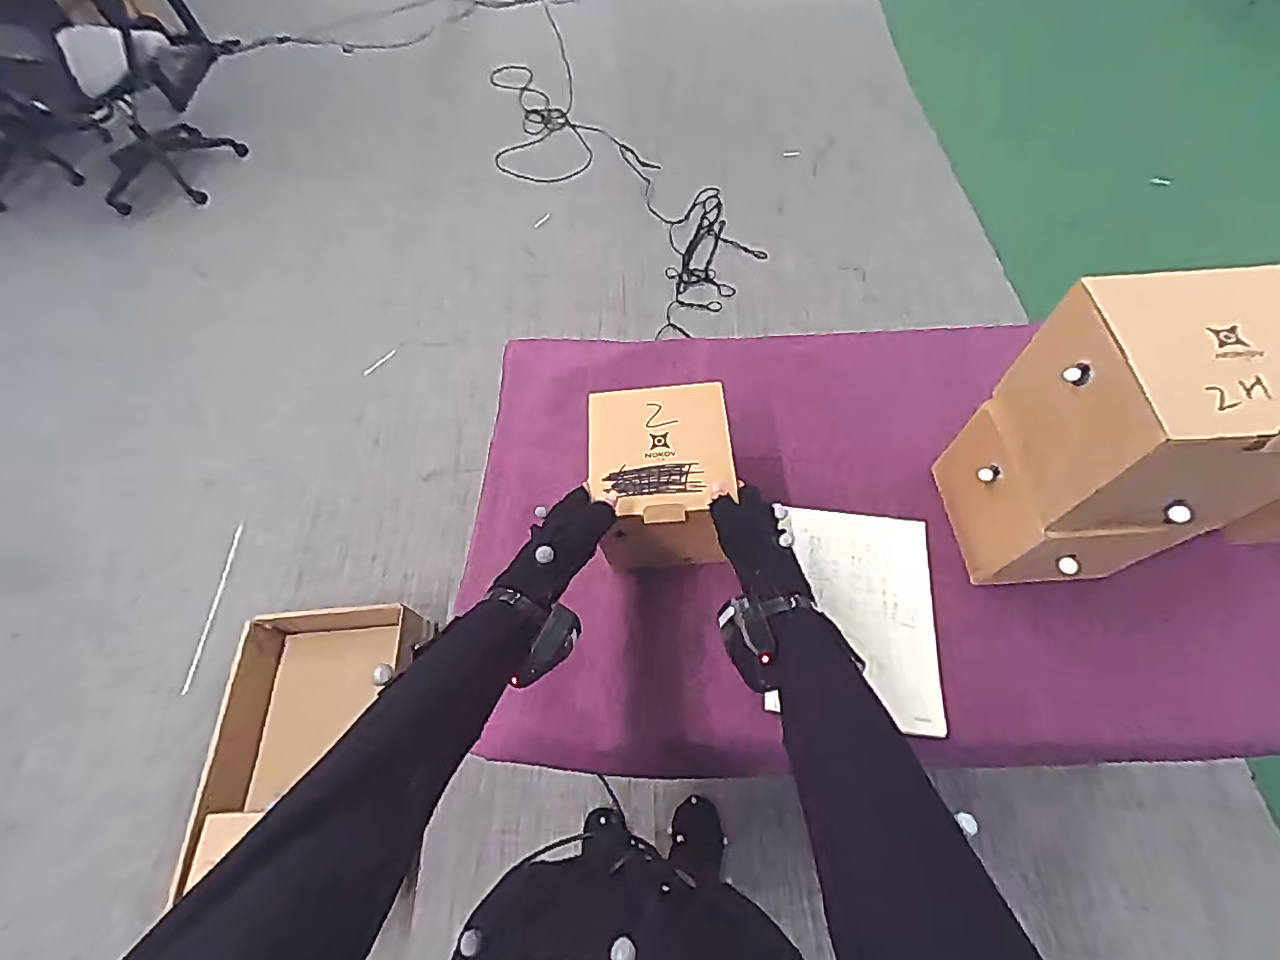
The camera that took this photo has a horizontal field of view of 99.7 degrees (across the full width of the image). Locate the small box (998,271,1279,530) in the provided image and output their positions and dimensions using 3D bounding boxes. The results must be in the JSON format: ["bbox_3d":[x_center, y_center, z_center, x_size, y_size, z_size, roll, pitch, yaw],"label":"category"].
[{"bbox_3d":[0.476,-0.066,0.505,0.168,0.176,0.179,-2,61,5],"label":"small box"}]

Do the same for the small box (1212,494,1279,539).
[{"bbox_3d":[0.804,-0.034,0.642,0.168,0.176,0.179,-2,61,4],"label":"small box"}]

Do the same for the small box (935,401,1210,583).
[{"bbox_3d":[0.487,0.018,0.646,0.168,0.176,0.179,-5,61,3],"label":"small box"}]
